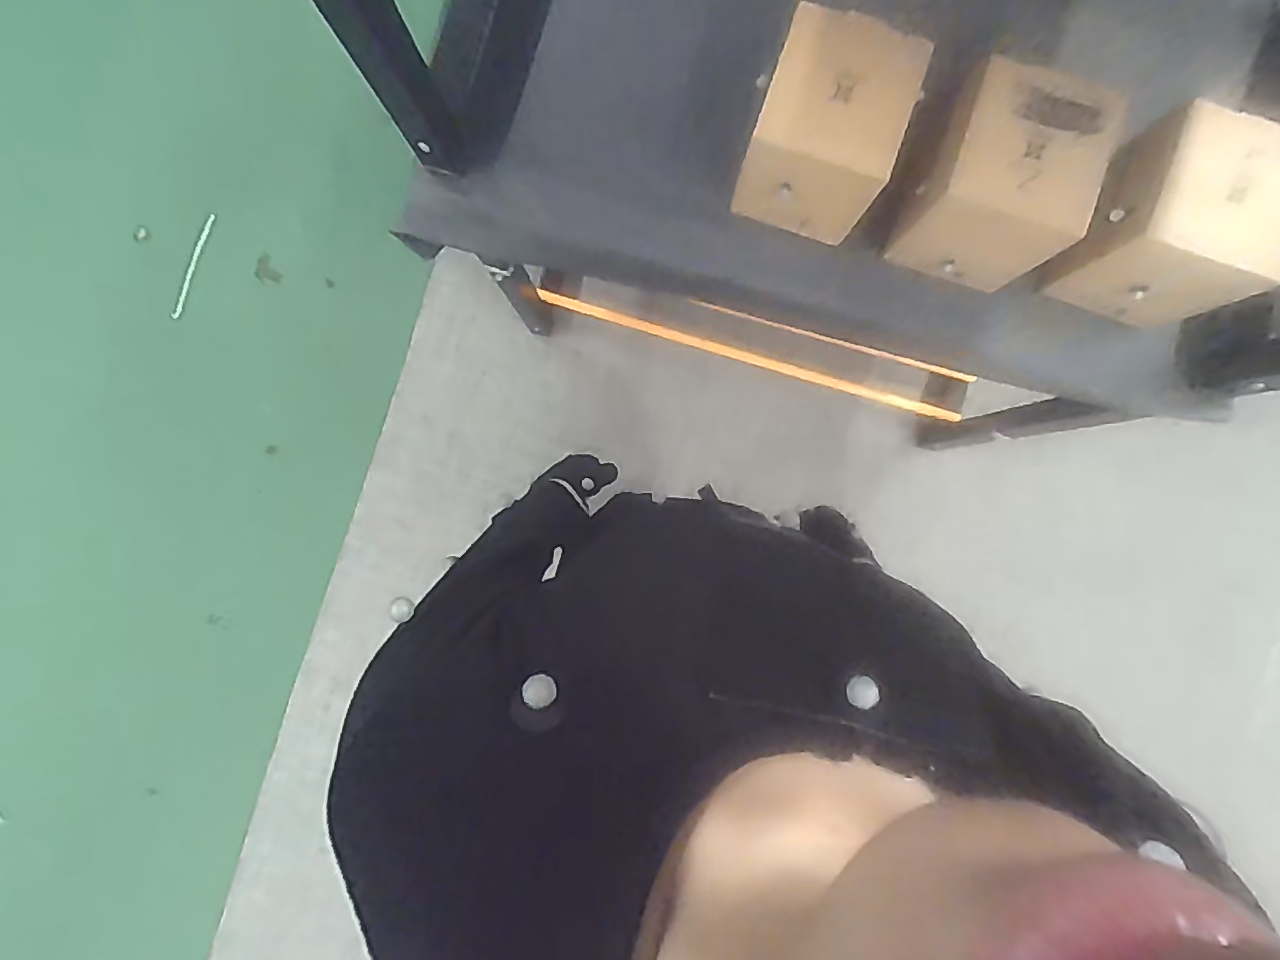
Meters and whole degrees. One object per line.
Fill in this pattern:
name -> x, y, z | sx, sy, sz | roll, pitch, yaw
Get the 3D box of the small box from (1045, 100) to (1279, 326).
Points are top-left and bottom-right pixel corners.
small box -> 0.668, -0.320, 0.688 | 0.168, 0.176, 0.179 | 20, 87, 1

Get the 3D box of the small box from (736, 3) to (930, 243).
small box -> 0.232, -0.443, 0.701 | 0.168, 0.176, 0.179 | 19, 88, 2
